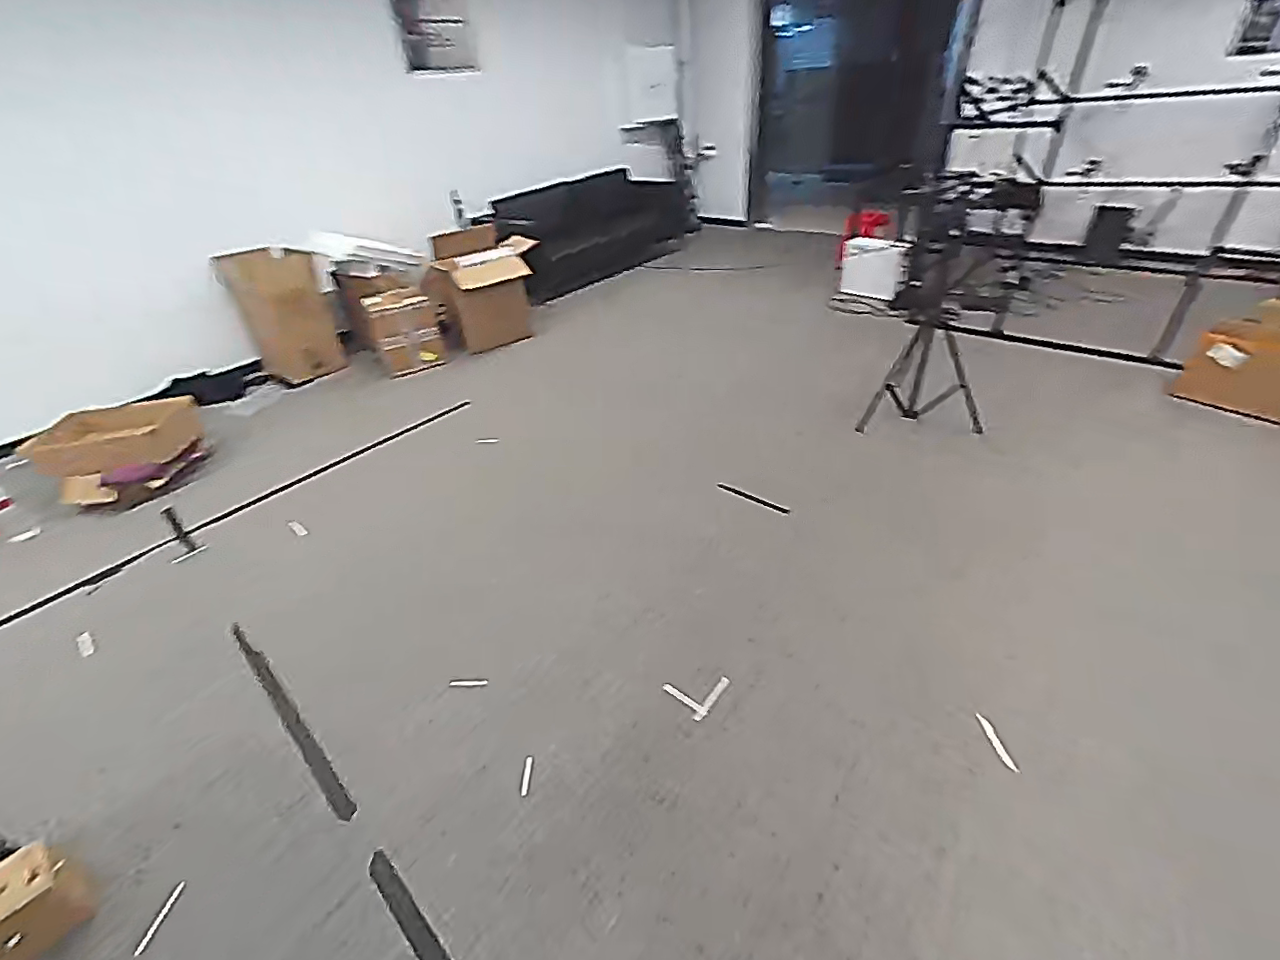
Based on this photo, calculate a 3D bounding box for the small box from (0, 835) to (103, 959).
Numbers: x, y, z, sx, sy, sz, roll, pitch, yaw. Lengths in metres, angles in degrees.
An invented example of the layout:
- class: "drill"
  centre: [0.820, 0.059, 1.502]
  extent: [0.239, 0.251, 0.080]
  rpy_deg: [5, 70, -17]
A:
- class: "small box"
  centre: [-1.459, 1.015, 1.296]
  extent: [0.168, 0.176, 0.179]
  rpy_deg: [25, 46, 34]
